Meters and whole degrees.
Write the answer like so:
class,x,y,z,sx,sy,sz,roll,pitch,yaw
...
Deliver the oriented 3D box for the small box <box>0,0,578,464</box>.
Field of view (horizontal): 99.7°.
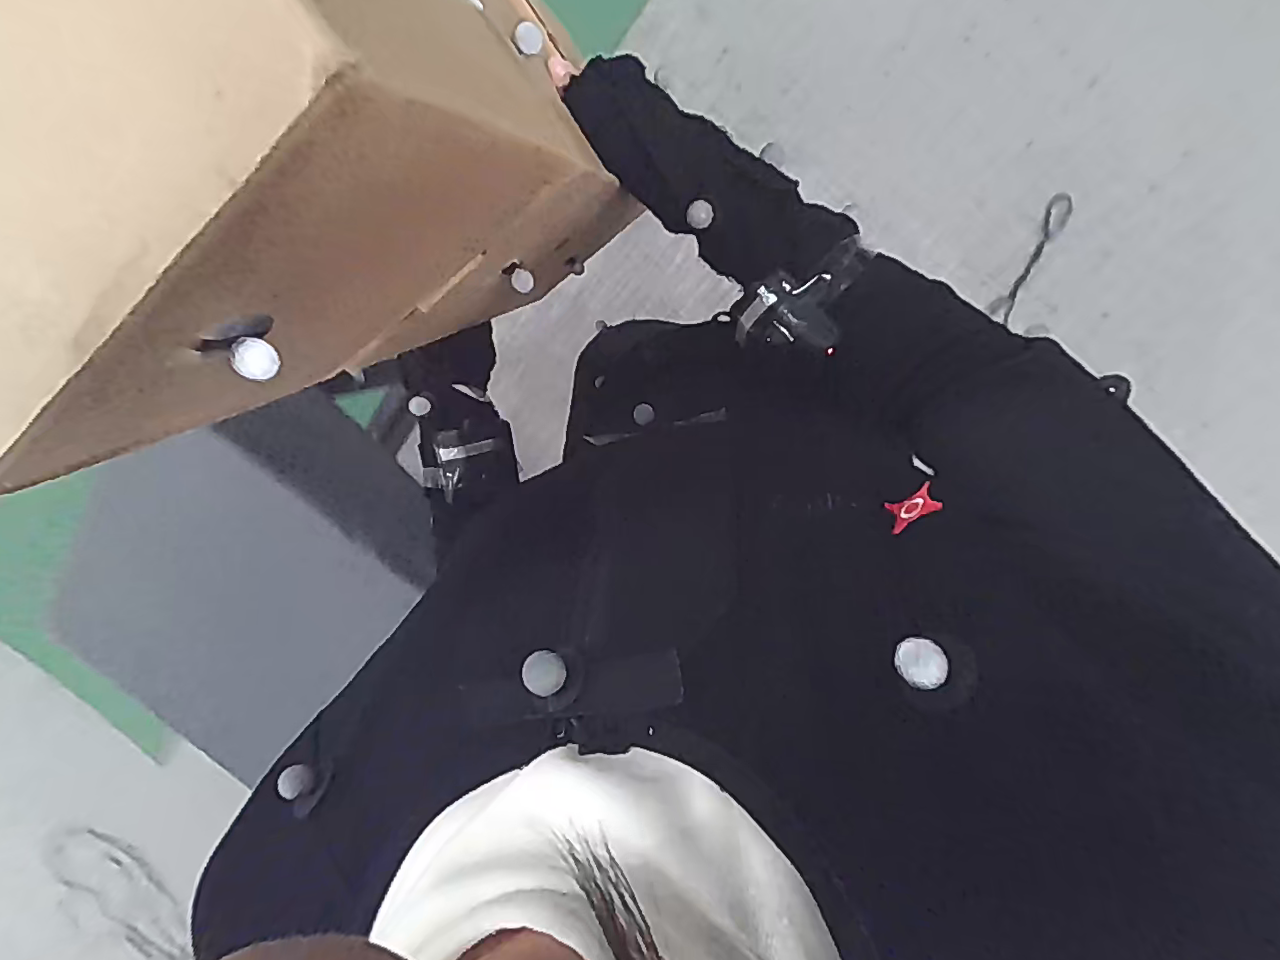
class,x,y,z,sx,sy,sz,roll,pitch,yaw
small box,-0.144,-0.130,0.161,0.179,0.176,0.168,-28,108,20
